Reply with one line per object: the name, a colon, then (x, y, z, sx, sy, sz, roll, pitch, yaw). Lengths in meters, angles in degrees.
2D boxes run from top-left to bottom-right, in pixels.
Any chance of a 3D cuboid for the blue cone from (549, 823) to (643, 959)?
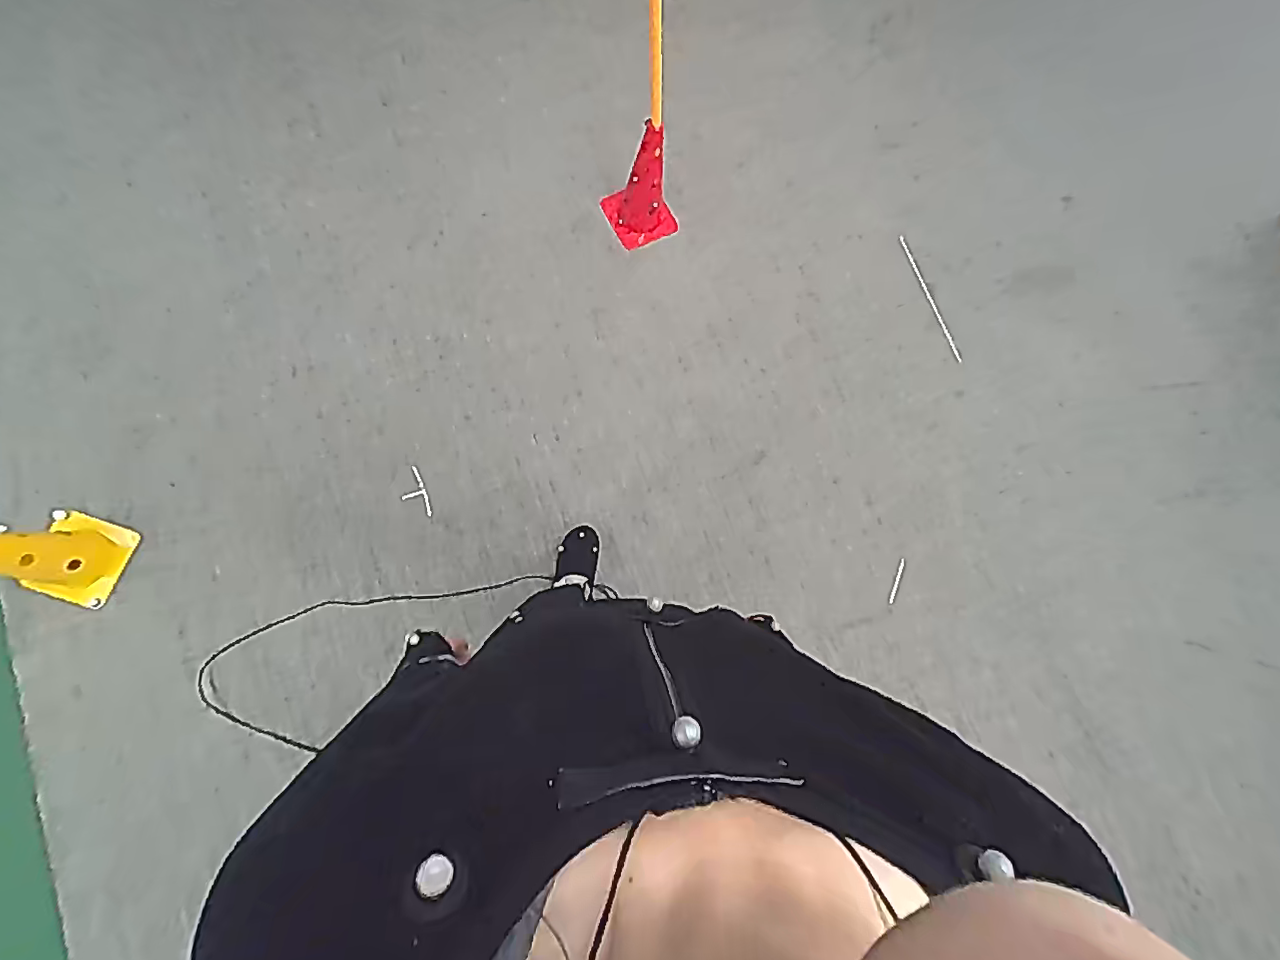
blue cone: (-0.074, 0.932, 1.175, 0.193, 0.380, 0.192, 29, 75, -4)
